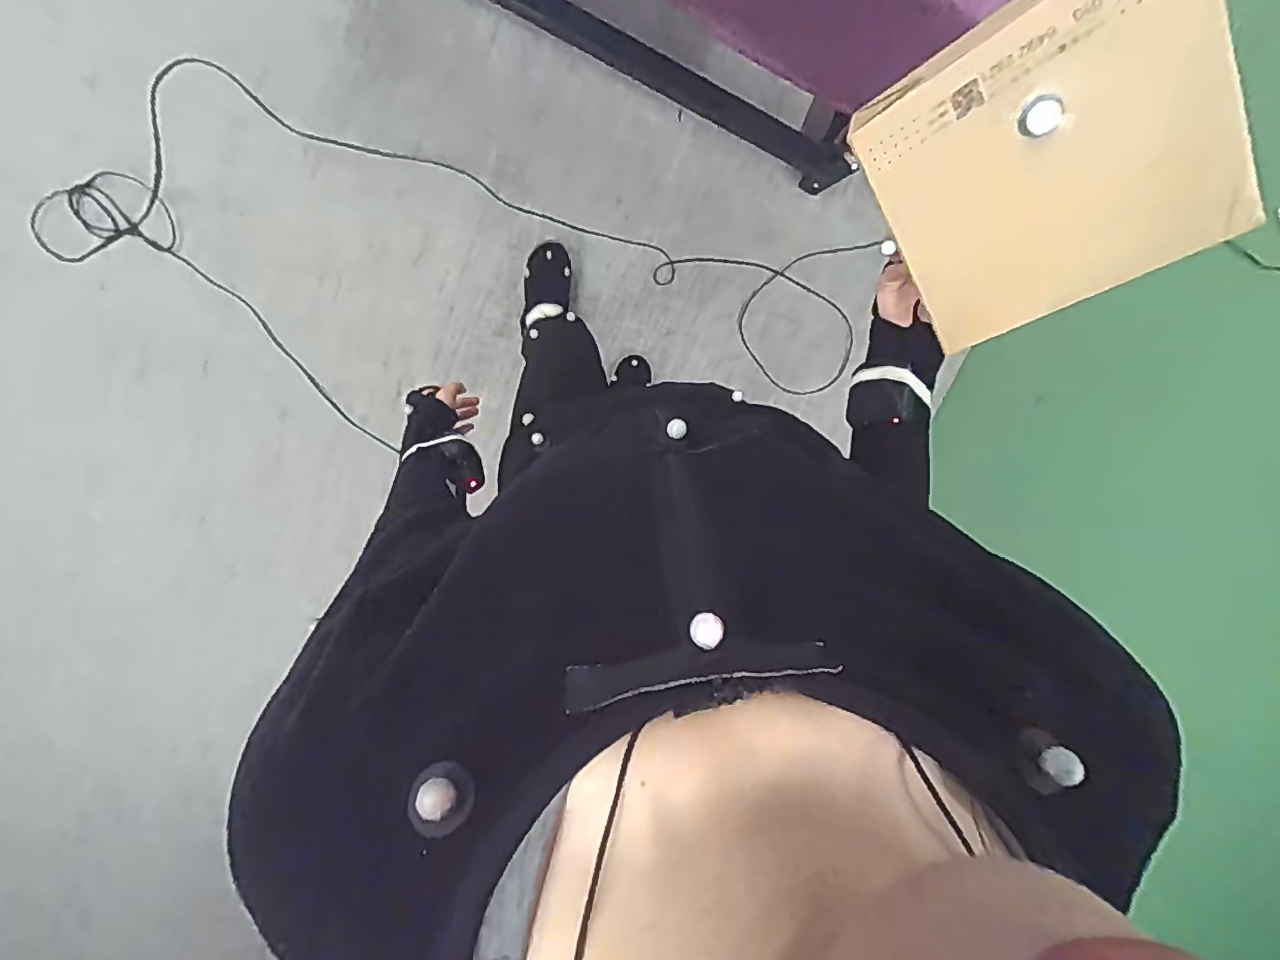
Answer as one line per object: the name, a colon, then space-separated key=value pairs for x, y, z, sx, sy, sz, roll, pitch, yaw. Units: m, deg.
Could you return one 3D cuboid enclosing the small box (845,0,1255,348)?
small box: x=0.260 y=-0.230 z=0.380 sx=0.168 sy=0.179 sz=0.176 roll=-25 pitch=112 yaw=35
